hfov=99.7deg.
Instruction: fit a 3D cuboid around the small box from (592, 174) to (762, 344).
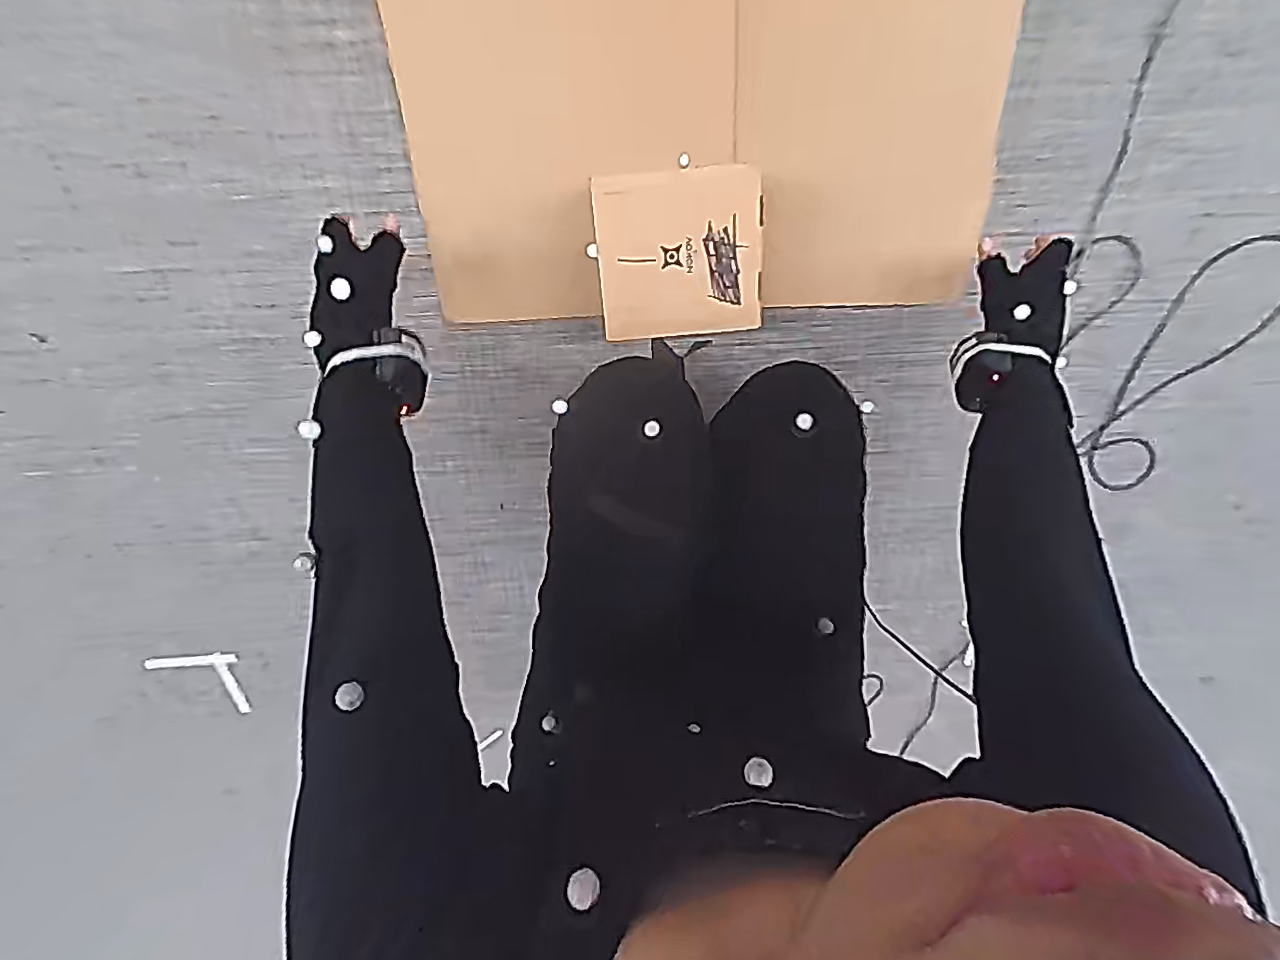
[{"bbox_3d":[0.039,-0.270,0.653,0.179,0.176,0.168,-4,117,1],"label":"small box"}]
